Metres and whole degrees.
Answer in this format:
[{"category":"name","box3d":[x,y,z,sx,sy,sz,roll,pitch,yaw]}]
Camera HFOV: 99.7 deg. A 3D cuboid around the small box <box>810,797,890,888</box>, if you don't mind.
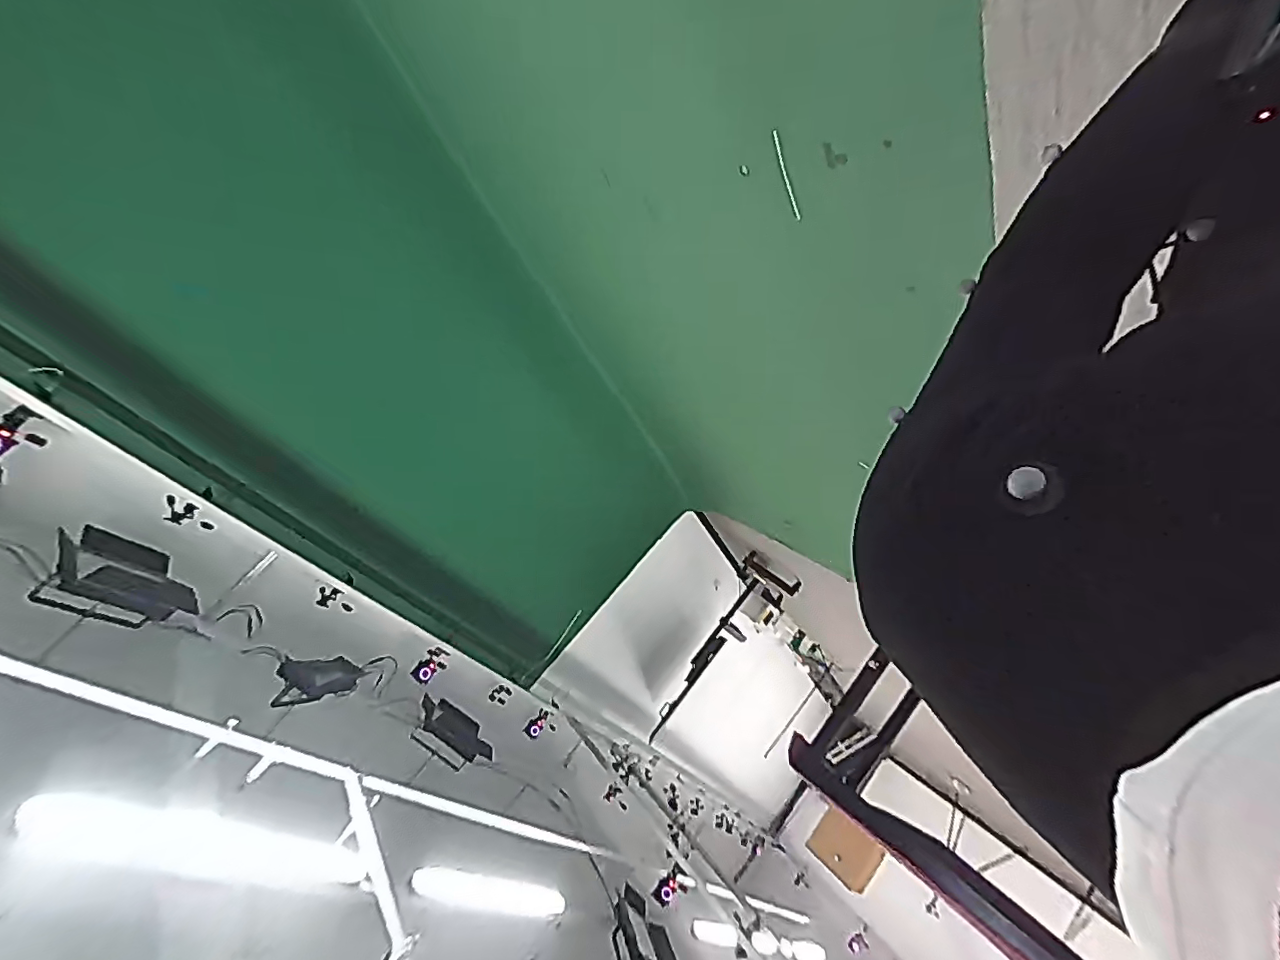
[{"category":"small box","box3d":[0.698,1.189,1.777,0.179,0.176,0.168,27,162,47]}]
